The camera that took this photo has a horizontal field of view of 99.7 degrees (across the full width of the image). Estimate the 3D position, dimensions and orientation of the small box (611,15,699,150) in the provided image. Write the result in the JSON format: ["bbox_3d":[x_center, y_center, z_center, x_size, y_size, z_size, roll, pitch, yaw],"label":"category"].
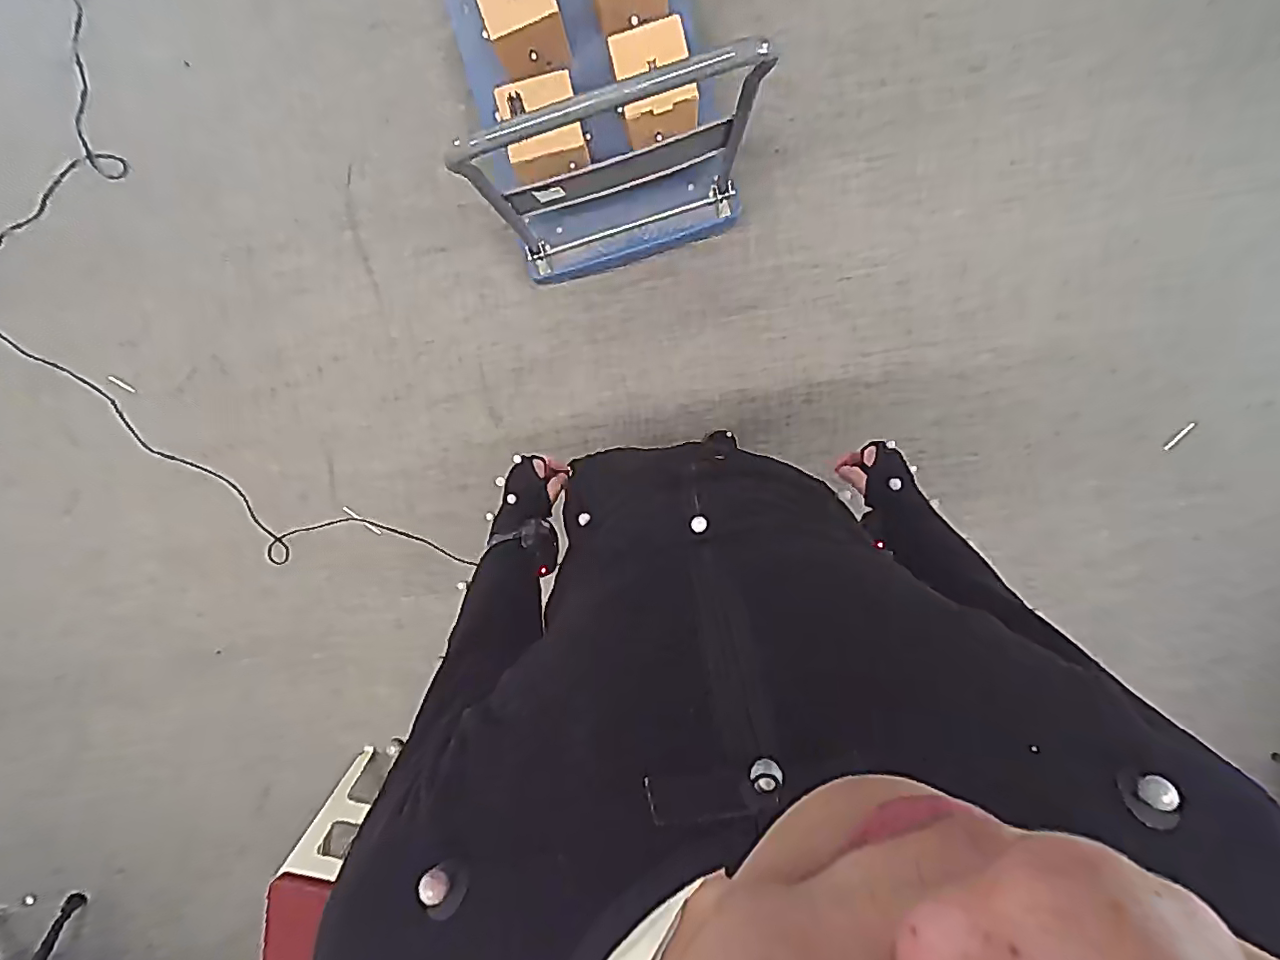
[{"bbox_3d":[0.036,-0.926,1.275,0.168,0.176,0.179,-15,96,6],"label":"small box"}]

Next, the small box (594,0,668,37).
[{"bbox_3d":[-0.038,-1.185,1.248,0.168,0.176,0.179,-19,96,7],"label":"small box"}]

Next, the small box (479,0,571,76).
[{"bbox_3d":[-0.274,-1.102,1.276,0.168,0.176,0.179,-19,95,5],"label":"small box"}]
